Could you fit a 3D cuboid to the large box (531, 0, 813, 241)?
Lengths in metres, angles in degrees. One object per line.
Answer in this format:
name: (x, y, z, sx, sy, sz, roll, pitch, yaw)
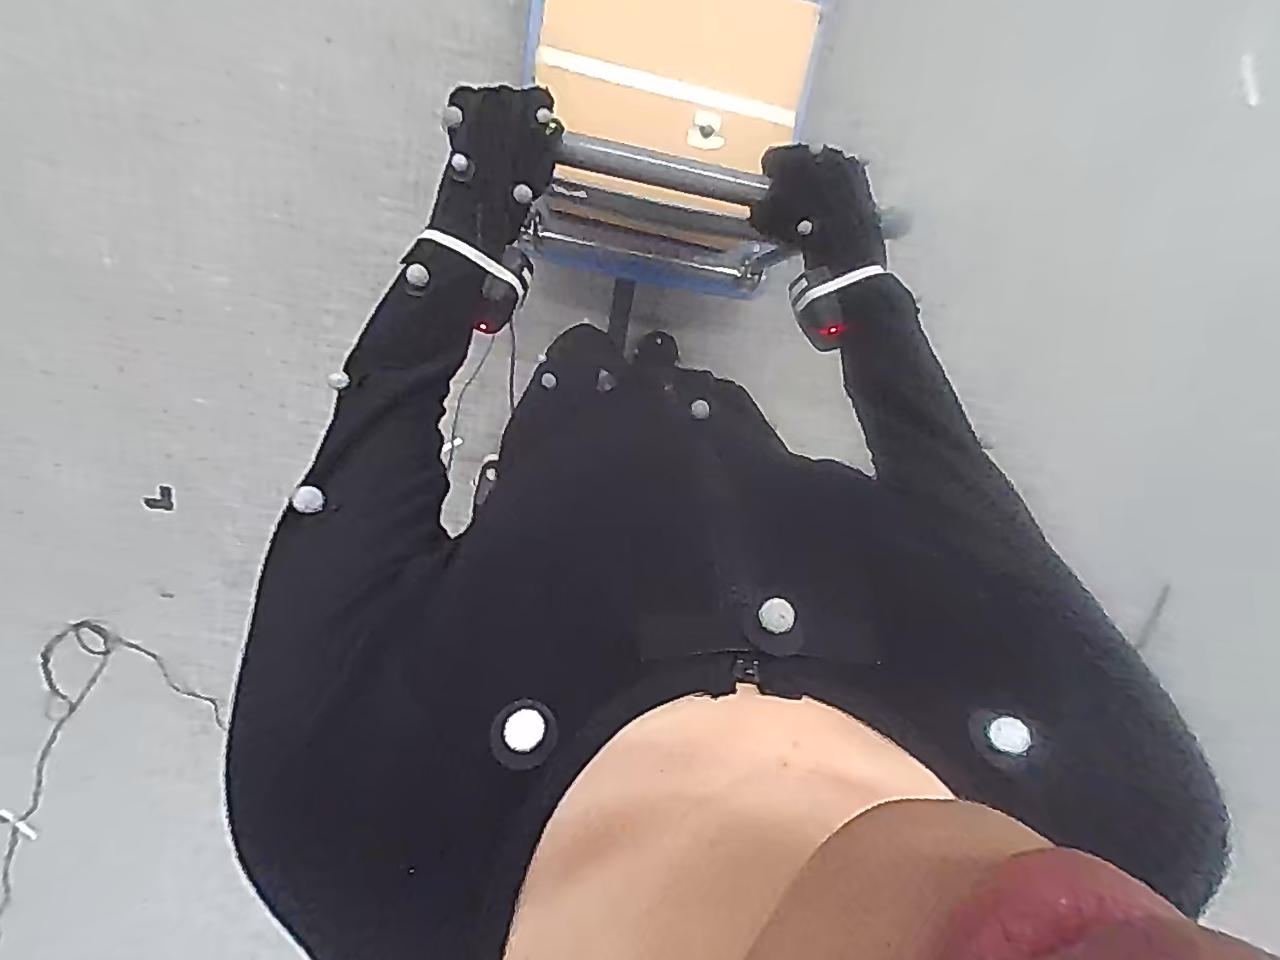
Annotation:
large box: (0.032, -0.656, 0.982, 0.408, 0.320, 0.320, 9, 106, -8)
